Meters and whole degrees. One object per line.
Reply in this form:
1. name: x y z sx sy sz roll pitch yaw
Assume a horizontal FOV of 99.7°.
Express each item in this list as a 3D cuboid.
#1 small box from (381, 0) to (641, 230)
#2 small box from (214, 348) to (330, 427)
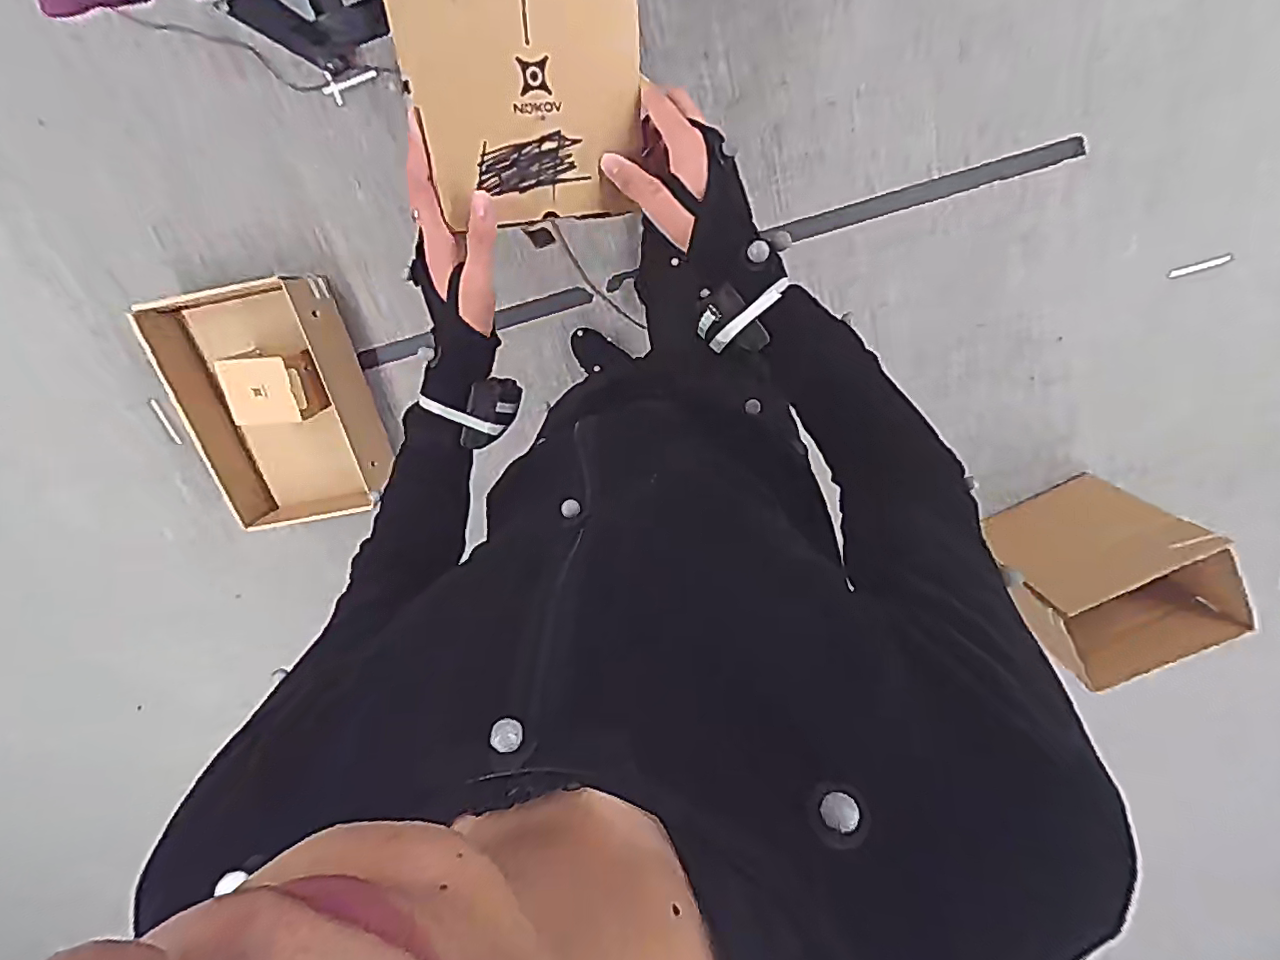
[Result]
1. small box: -0.106 -0.320 0.442 0.168 0.176 0.179 -15 126 -16
2. small box: -0.940 -0.246 1.407 0.179 0.176 0.168 -3 113 0
